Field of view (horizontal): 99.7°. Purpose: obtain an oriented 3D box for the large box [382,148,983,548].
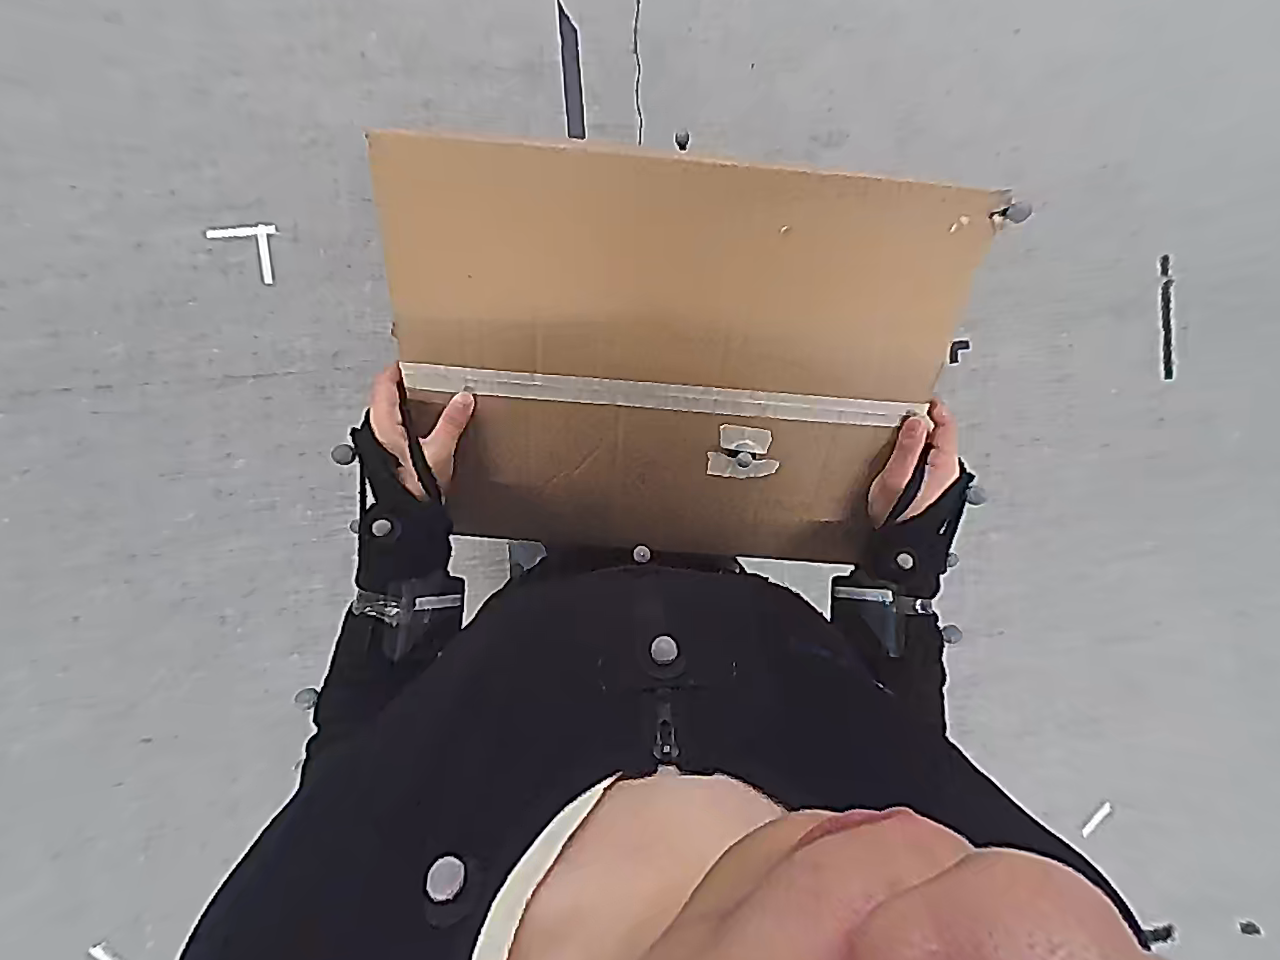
[{"bbox_3d":[0.020,-0.151,0.556,0.408,0.320,0.320,3,124,-3],"label":"large box"}]
